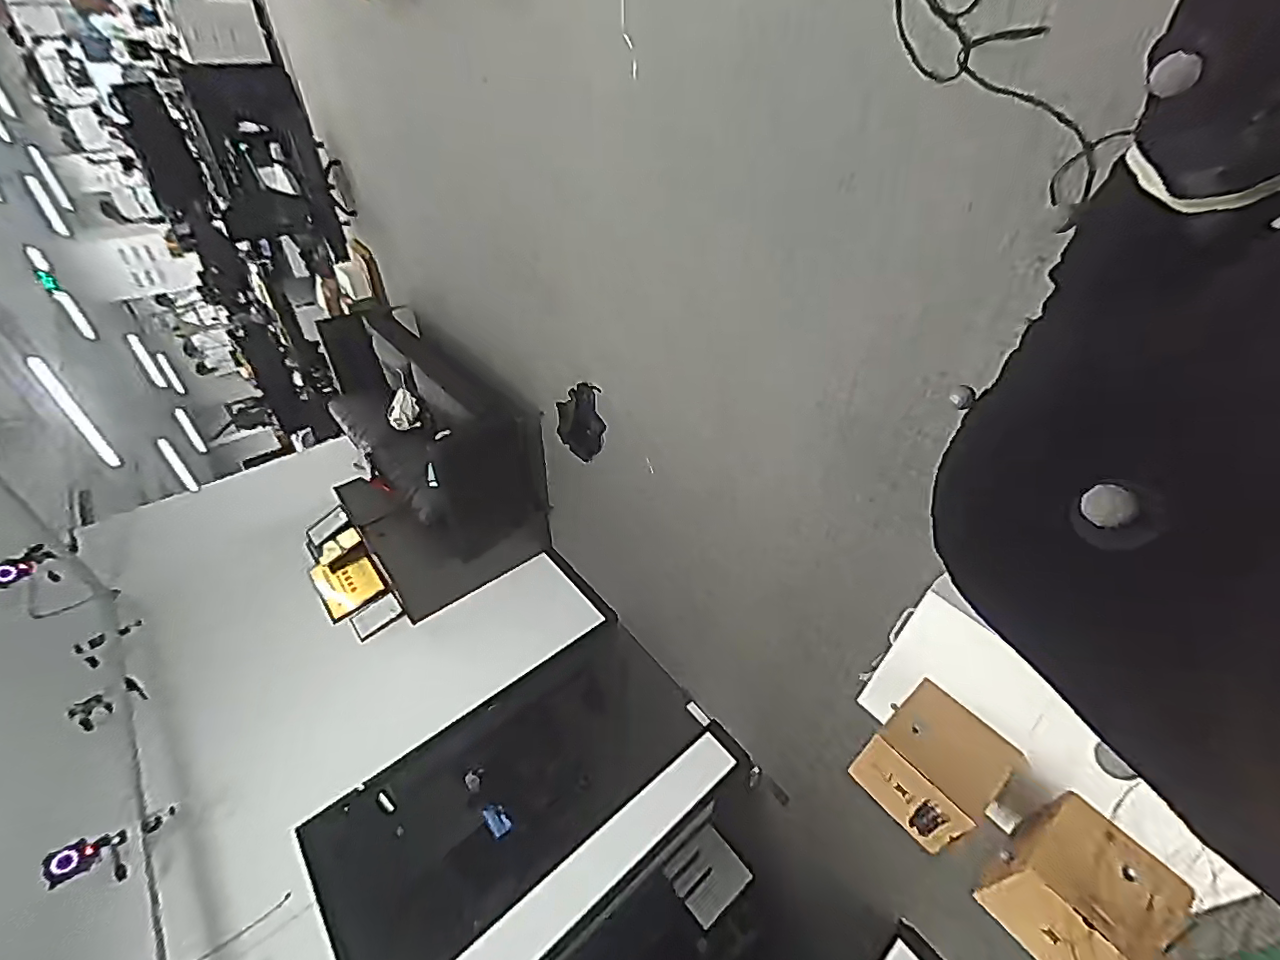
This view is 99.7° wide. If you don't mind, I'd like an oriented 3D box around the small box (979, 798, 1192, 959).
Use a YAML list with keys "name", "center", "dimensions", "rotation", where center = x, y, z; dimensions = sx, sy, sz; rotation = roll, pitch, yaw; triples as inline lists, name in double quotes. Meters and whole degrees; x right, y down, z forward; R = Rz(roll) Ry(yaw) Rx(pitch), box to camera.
- name: "small box"
  center: [0.667, 0.629, 0.817]
  dimensions: [0.168, 0.176, 0.179]
  rotation: [41, 143, 34]
